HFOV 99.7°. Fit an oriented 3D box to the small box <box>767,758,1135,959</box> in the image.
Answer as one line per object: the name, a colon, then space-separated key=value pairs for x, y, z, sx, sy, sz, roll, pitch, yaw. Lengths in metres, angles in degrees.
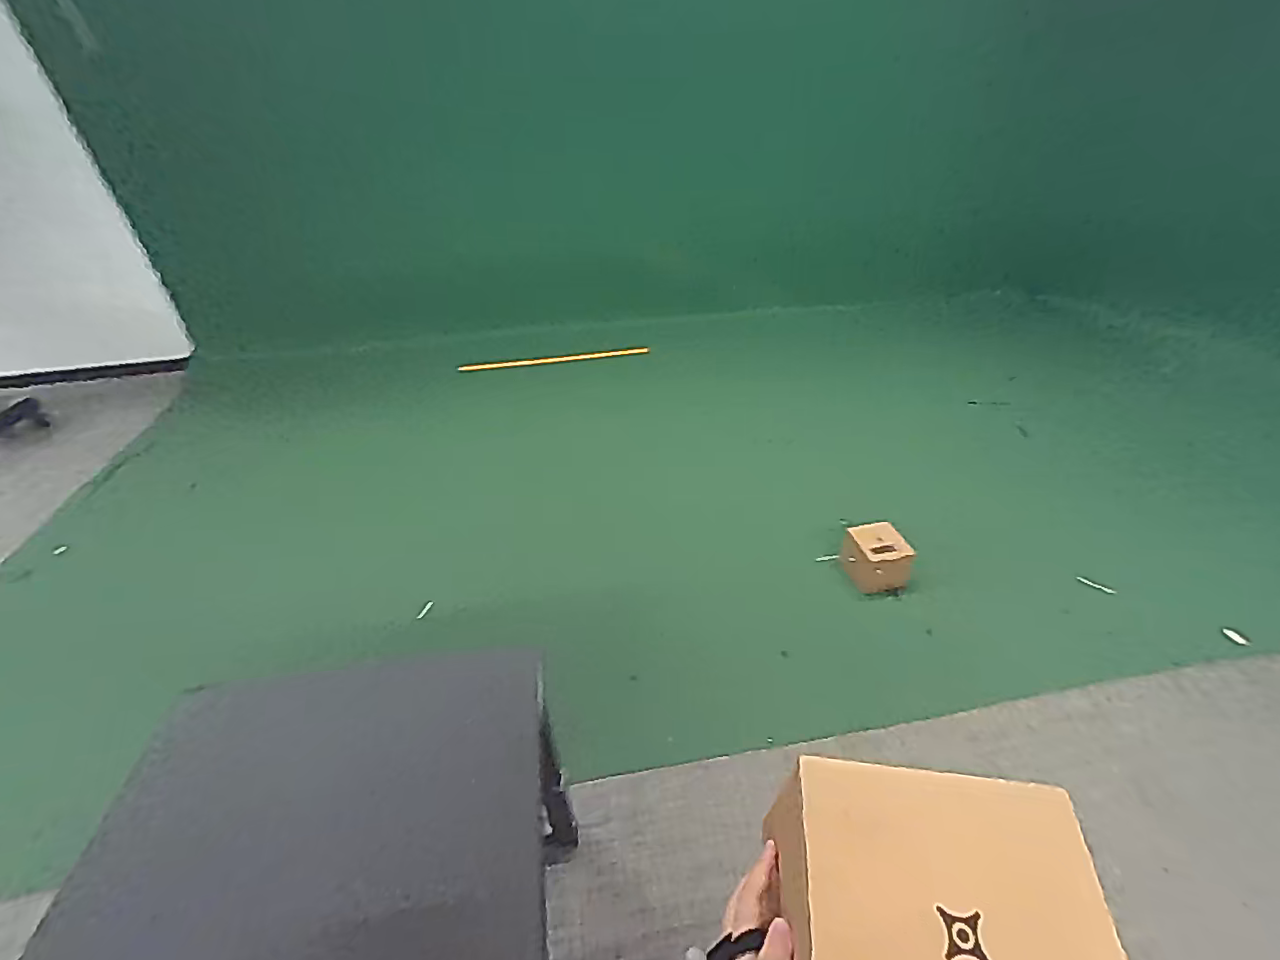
small box: x=0.177 y=0.305 z=0.344 sx=0.168 sy=0.176 sz=0.179 roll=5 pitch=48 yaw=6
